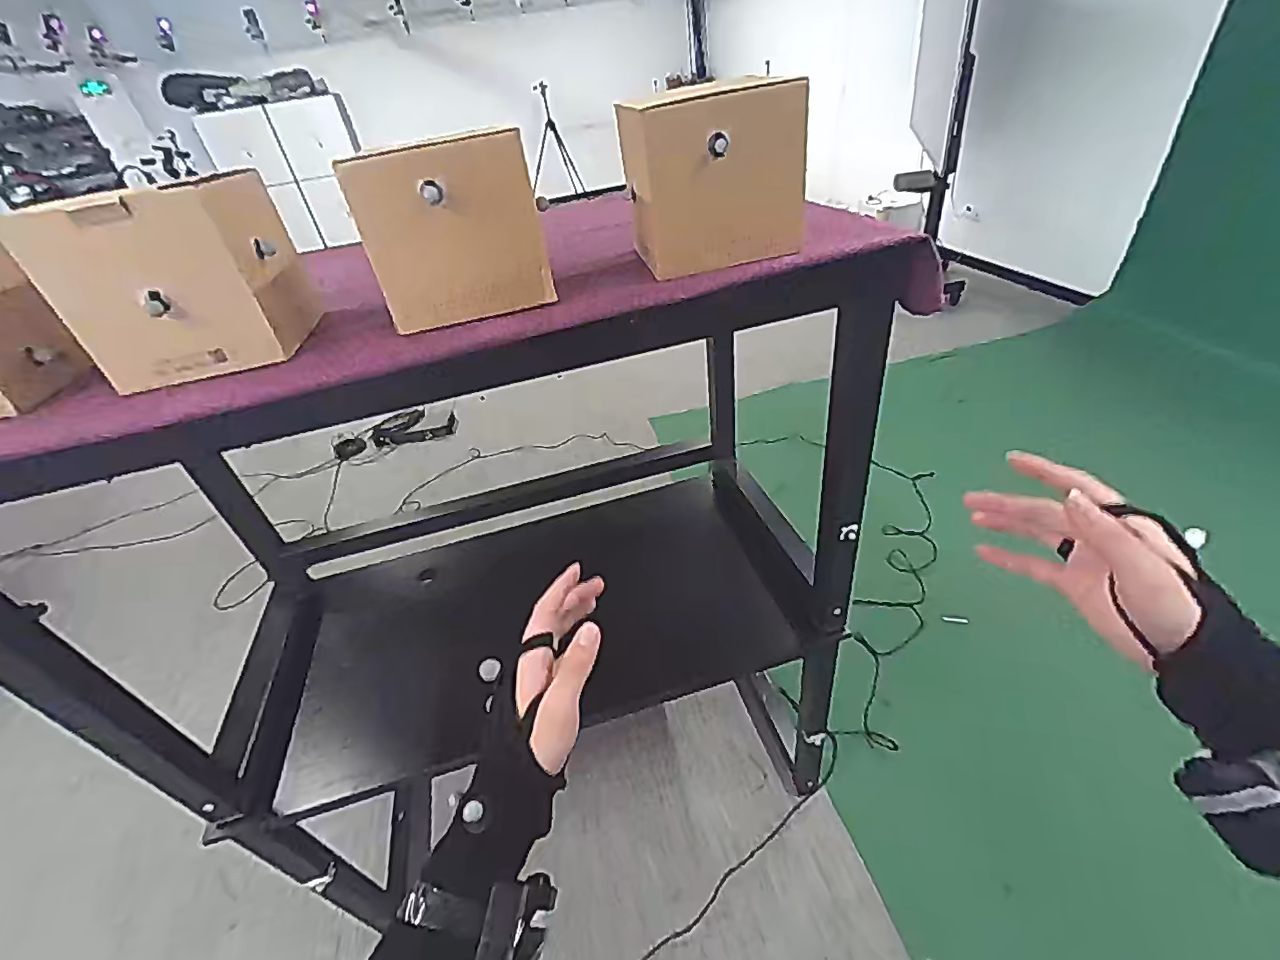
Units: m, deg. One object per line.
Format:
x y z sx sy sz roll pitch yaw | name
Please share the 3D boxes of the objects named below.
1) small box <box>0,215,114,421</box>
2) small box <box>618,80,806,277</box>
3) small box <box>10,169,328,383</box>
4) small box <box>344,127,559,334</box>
-0.718 -0.152 0.548 0.179 0.176 0.168 -14 37 -8 | small box
0.082 -0.355 0.641 0.179 0.176 0.168 -13 38 -3 | small box
-0.467 -0.217 0.581 0.168 0.176 0.179 -14 36 -7 | small box
-0.196 -0.286 0.615 0.179 0.176 0.168 -15 36 -6 | small box
